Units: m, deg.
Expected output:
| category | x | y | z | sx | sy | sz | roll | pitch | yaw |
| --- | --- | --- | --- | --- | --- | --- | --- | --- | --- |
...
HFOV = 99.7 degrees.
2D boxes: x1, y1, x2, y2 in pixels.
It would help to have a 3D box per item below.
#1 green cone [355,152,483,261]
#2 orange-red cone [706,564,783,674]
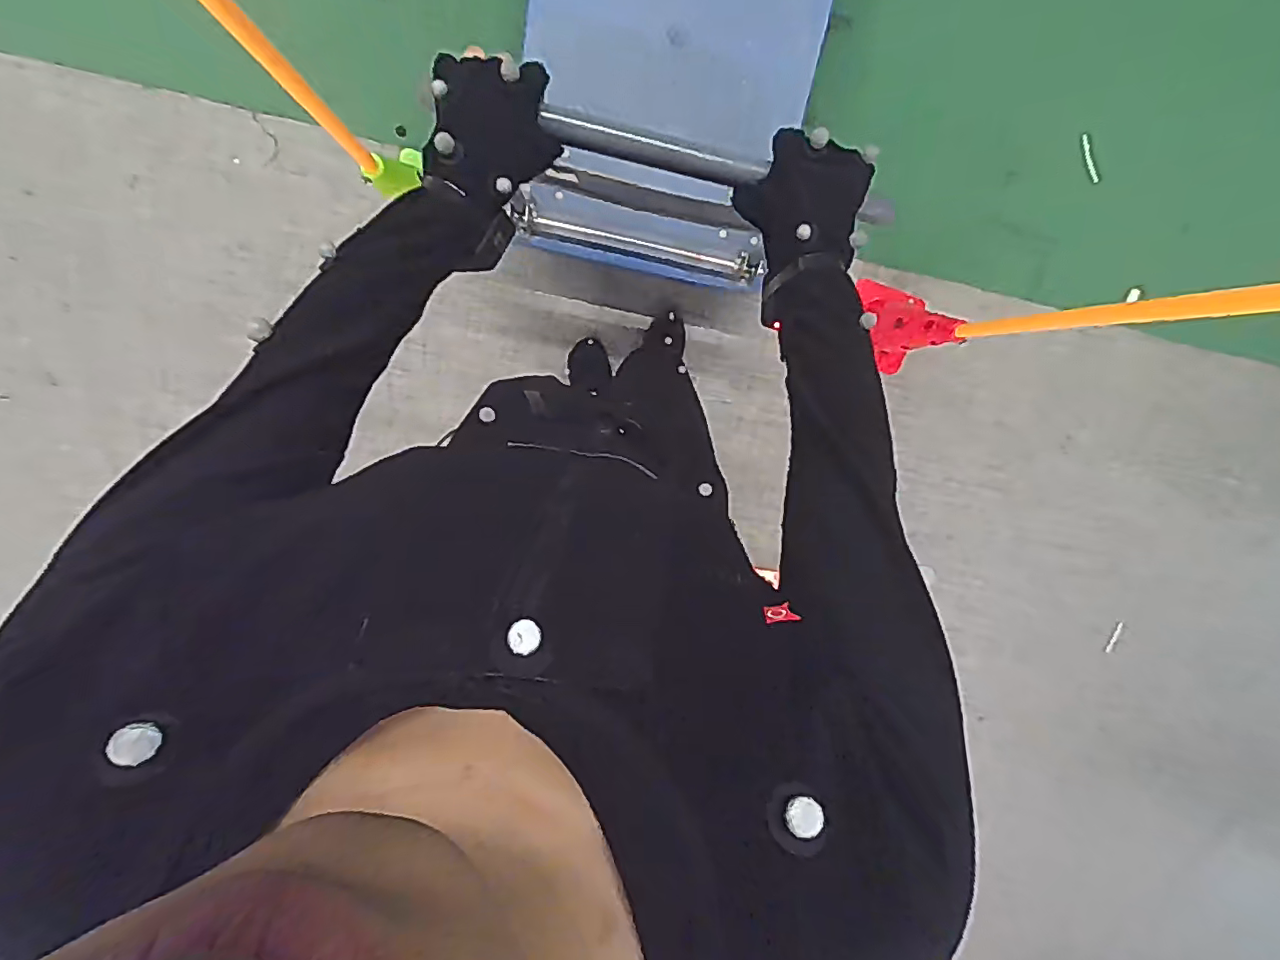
| category | x | y | z | sx | sy | sz | roll | pitch | yaw |
| --- | --- | --- | --- | --- | --- | --- | --- | --- | --- |
| green cone | -0.480 | -0.600 | 1.116 | 0.202 | 0.368 | 0.200 | 16 | 104 | -6 |
| orange-red cone | 0.315 | 0.399 | 1.450 | 0.199 | 0.360 | 0.198 | 11 | 105 | -4 |
